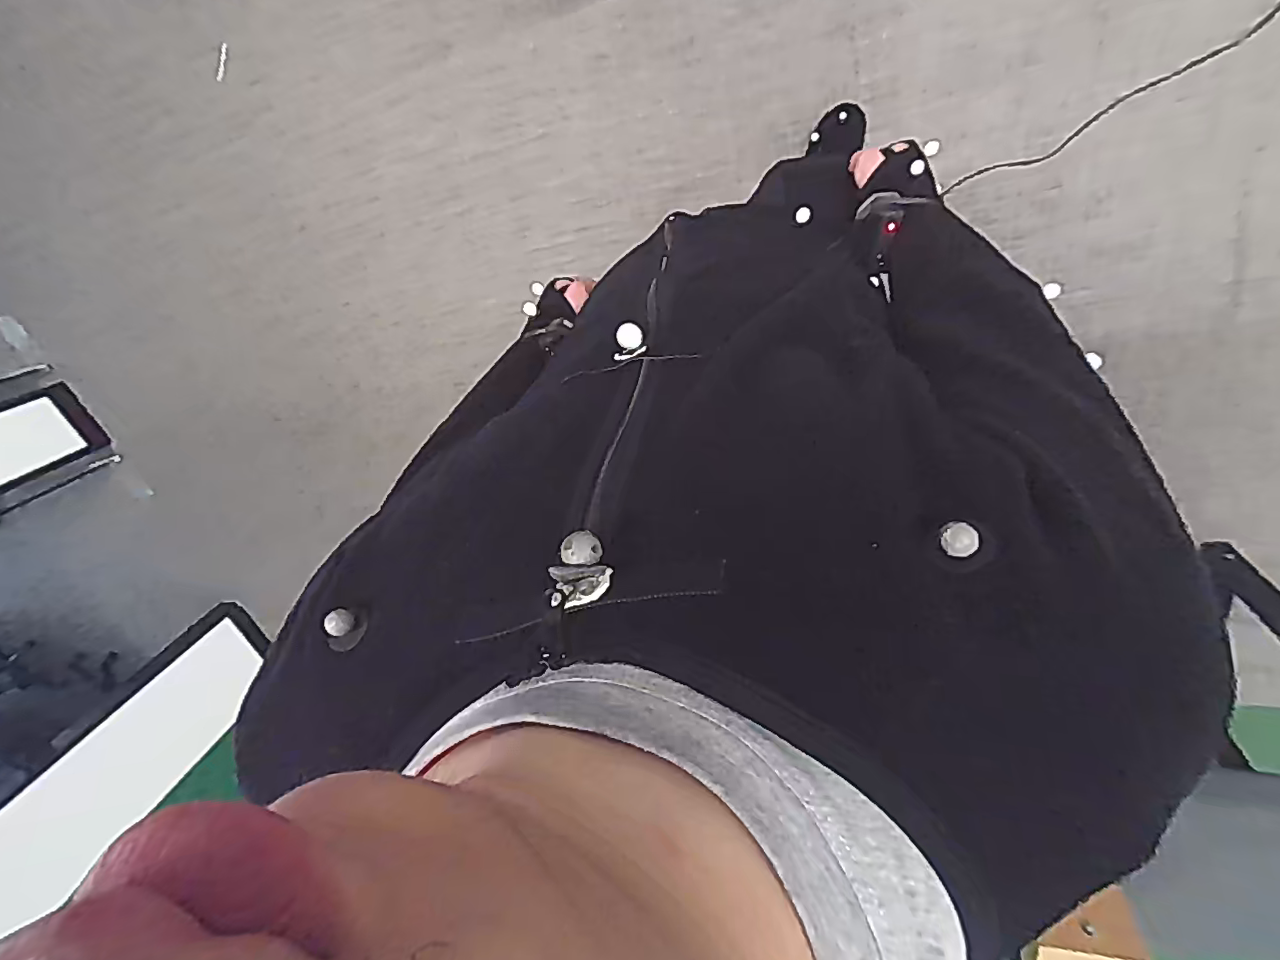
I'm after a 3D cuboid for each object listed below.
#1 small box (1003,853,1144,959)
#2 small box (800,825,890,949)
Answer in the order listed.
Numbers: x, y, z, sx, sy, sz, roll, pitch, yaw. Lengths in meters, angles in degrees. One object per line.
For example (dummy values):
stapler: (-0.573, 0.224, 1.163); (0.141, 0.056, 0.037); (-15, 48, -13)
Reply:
small box: (0.879, 0.907, 1.114); (0.179, 0.176, 0.168); (-5, 119, 21)
small box: (0.465, 0.934, 1.251); (0.179, 0.176, 0.168); (0, 121, 16)
